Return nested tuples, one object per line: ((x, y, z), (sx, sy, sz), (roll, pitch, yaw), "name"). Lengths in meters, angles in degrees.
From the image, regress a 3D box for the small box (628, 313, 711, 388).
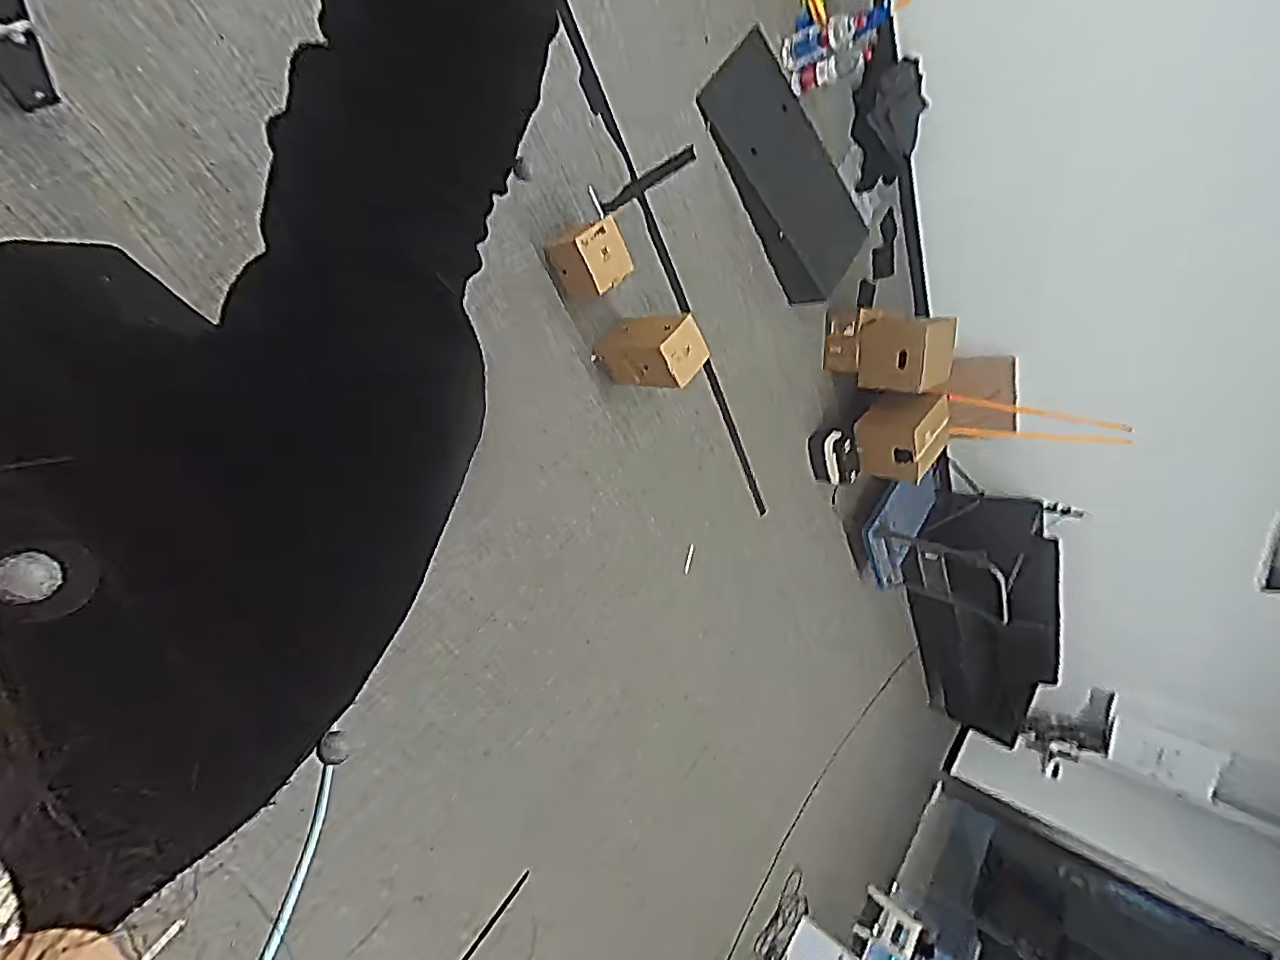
((0.093, -0.417, 1.742), (0.179, 0.176, 0.168), (-51, 129, -22), "small box")

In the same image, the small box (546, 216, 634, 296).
((-0.156, -0.688, 1.673), (0.168, 0.176, 0.179), (-46, 128, -26), "small box")

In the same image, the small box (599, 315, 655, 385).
((-0.019, -0.446, 1.860), (0.179, 0.176, 0.168), (-52, 130, -22), "small box")
